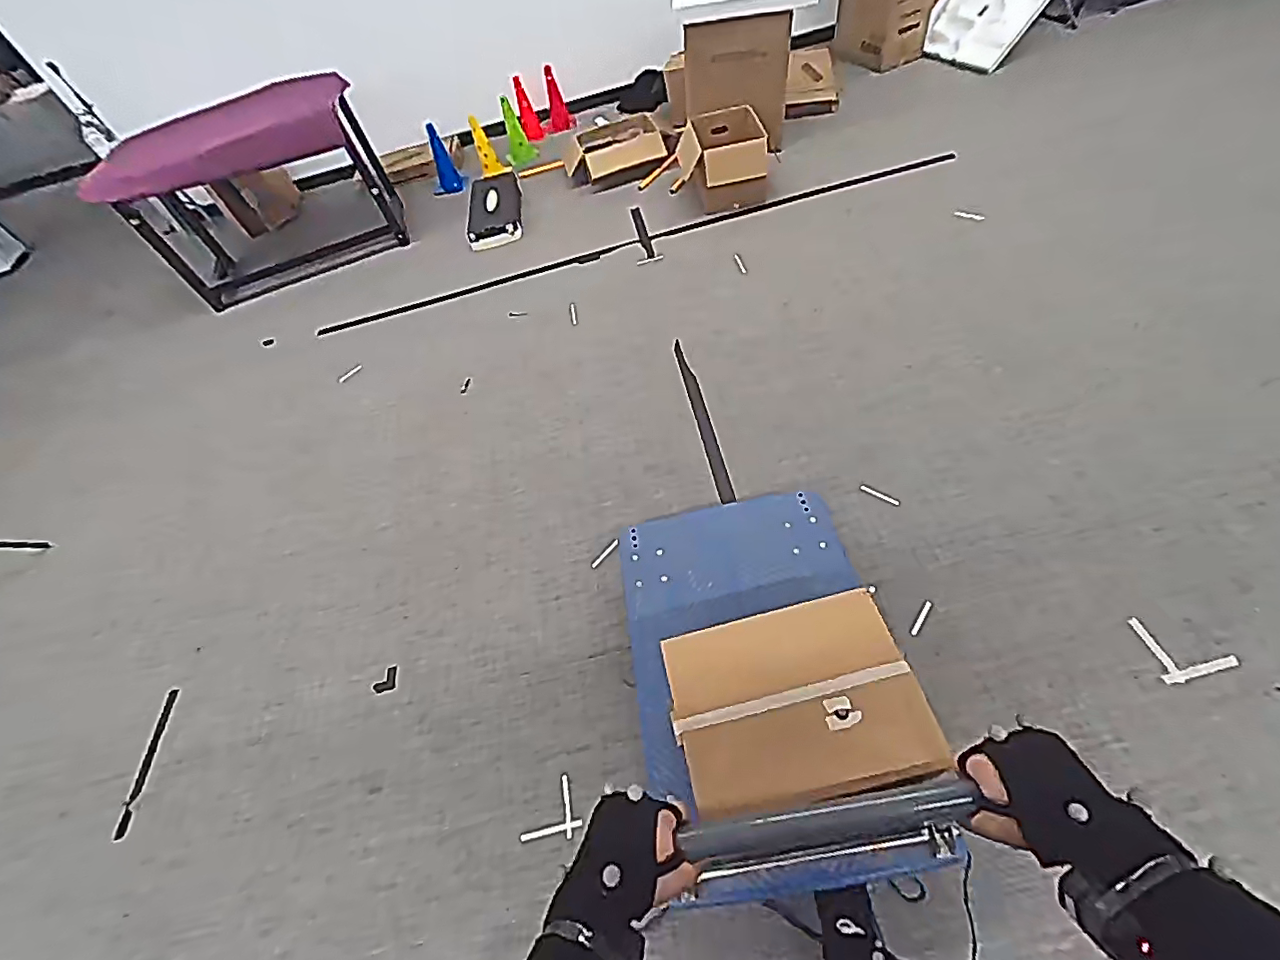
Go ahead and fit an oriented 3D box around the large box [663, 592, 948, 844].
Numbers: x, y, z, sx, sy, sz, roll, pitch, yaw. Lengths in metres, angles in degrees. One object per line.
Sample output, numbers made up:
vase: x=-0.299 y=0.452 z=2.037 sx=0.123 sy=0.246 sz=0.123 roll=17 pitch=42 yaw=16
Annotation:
large box: x=0.289 y=0.471 z=1.053 sx=0.408 sy=0.320 sz=0.320 roll=-15 pitch=52 yaw=1
